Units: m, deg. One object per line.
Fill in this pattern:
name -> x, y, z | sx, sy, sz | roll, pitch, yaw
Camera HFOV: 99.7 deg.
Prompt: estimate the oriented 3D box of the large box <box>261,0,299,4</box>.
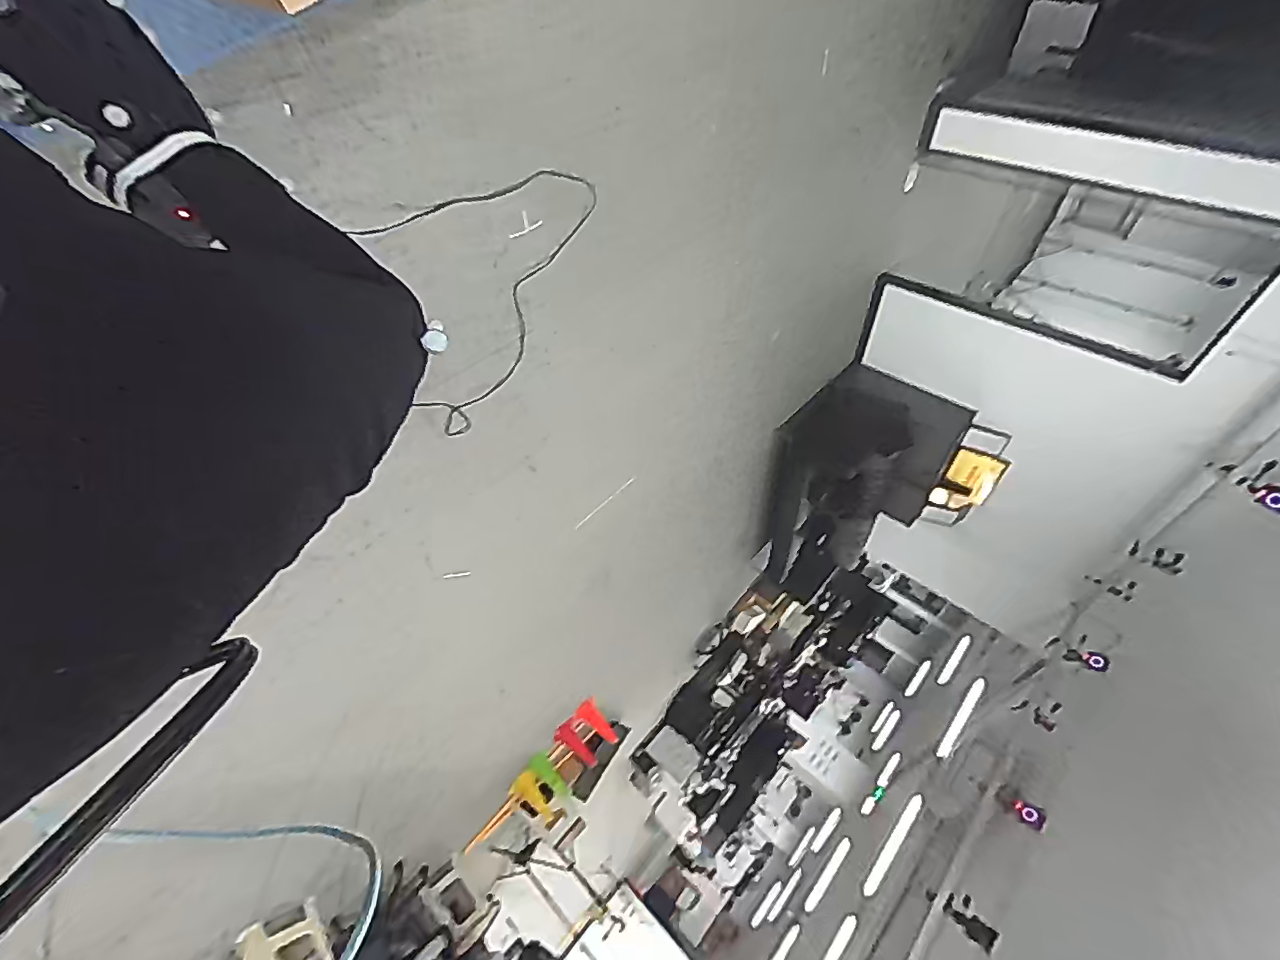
large box -> -0.517, -0.915, 0.672 | 0.320, 0.320, 0.408 | -47, 150, -16
